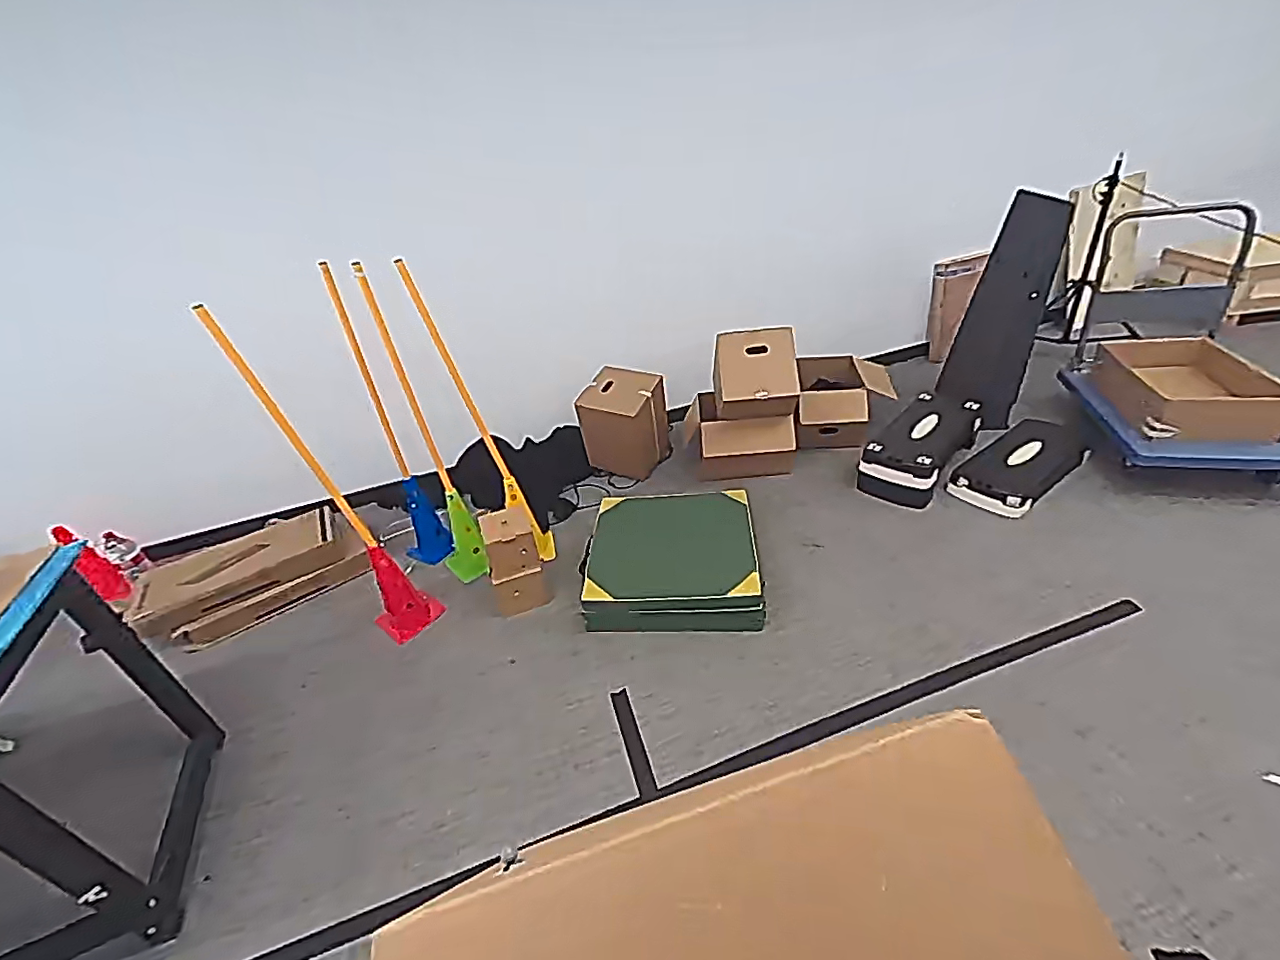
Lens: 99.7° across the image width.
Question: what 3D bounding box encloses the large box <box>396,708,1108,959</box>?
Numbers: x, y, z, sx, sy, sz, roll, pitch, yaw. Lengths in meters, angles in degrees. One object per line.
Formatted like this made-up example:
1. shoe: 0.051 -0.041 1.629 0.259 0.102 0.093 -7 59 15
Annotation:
1. large box: 0.090 0.414 0.414 0.408 0.320 0.320 -18 63 -5
